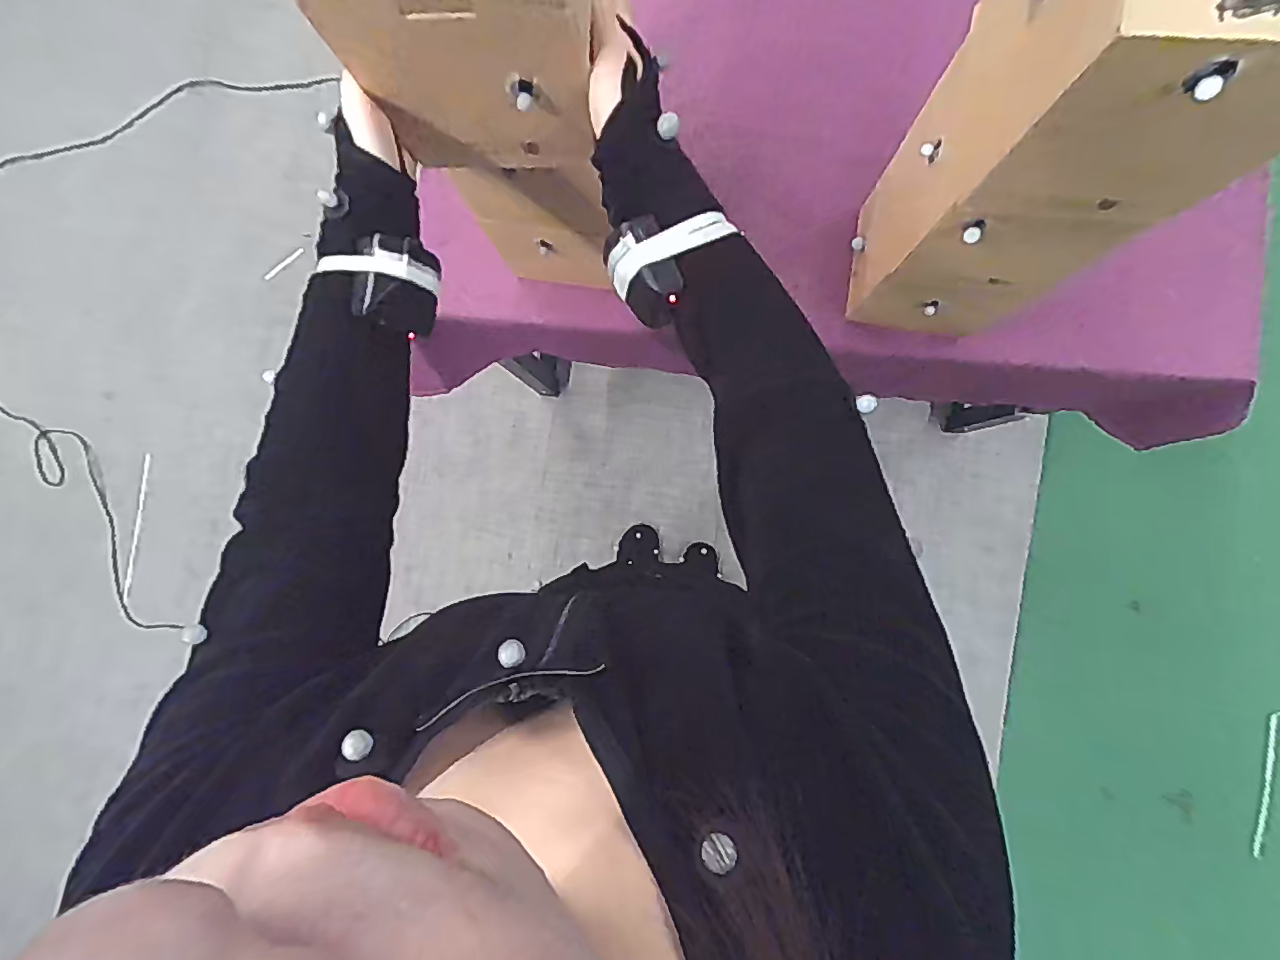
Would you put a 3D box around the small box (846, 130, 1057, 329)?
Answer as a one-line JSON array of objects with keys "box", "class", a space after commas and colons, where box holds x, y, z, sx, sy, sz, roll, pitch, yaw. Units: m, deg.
[{"box": [0.384, -0.302, 0.687, 0.179, 0.176, 0.168, 9, 88, 5], "class": "small box"}]

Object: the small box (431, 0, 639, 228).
[{"box": [-0.100, -0.382, 0.557, 0.179, 0.176, 0.168, 8, 89, 5], "class": "small box"}]

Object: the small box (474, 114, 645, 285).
[{"box": [-0.095, -0.377, 0.720, 0.179, 0.176, 0.168, 9, 89, 4], "class": "small box"}]

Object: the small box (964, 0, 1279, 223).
[{"box": [0.344, -0.304, 0.359, 0.168, 0.176, 0.179, 6, 87, 5], "class": "small box"}]

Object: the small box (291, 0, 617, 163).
[{"box": [-0.108, -0.352, 0.379, 0.168, 0.176, 0.179, 3, 89, 4], "class": "small box"}]
